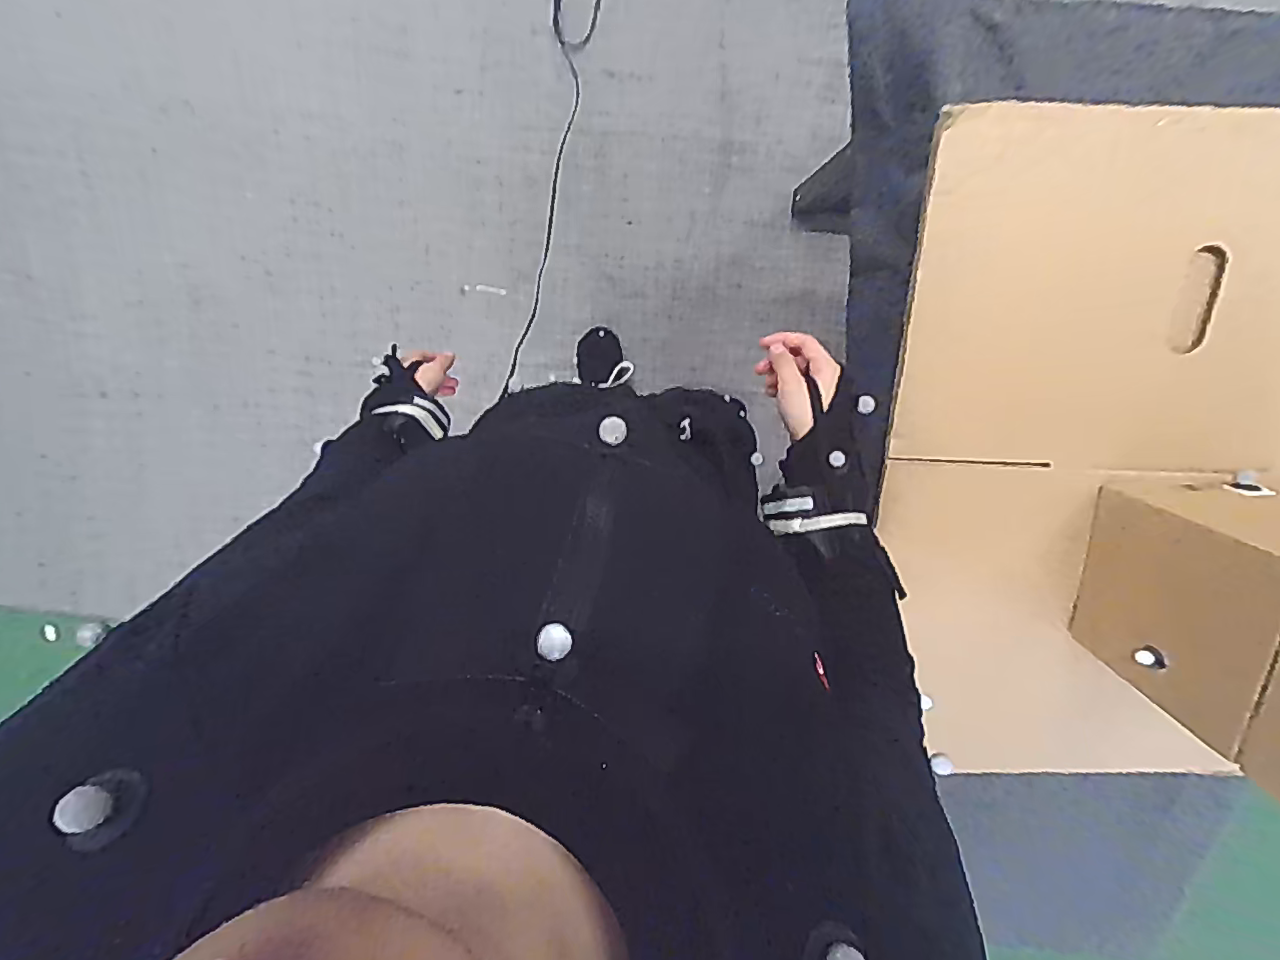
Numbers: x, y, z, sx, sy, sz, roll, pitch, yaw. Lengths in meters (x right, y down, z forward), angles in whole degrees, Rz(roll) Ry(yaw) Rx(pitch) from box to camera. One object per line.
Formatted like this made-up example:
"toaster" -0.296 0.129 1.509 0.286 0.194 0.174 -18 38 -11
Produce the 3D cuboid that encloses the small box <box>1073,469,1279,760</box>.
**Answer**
"small box" 0.526 0.103 0.468 0.168 0.176 0.179 -6 109 0
